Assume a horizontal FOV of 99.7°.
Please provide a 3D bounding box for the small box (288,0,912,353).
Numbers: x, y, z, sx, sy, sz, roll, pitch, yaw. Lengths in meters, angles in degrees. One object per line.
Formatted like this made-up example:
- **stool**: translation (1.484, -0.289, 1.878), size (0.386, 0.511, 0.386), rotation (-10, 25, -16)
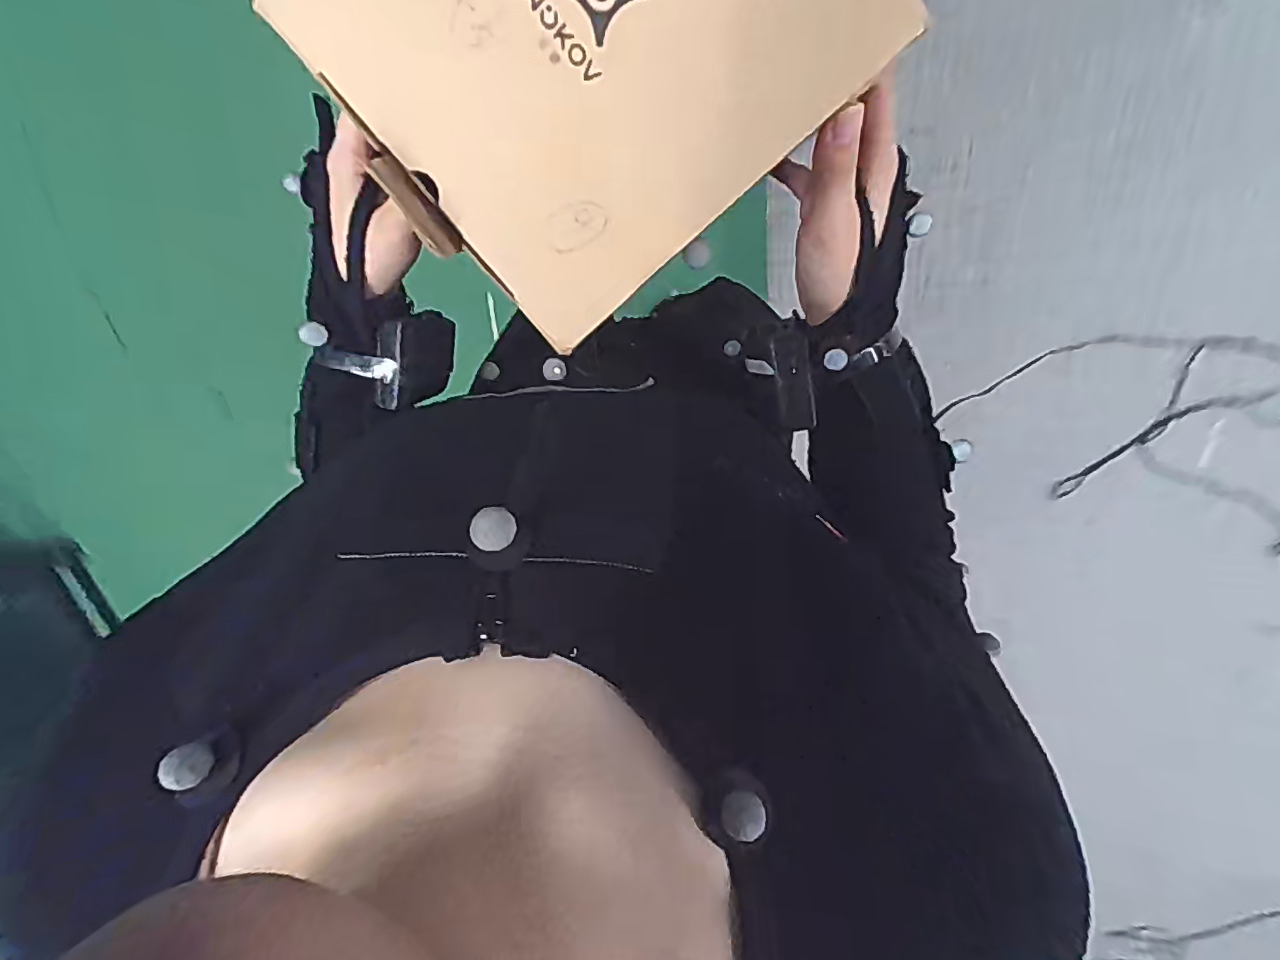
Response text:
- **small box**: translation (-0.011, -0.193, 0.270), size (0.179, 0.176, 0.168), rotation (-37, 106, 18)
